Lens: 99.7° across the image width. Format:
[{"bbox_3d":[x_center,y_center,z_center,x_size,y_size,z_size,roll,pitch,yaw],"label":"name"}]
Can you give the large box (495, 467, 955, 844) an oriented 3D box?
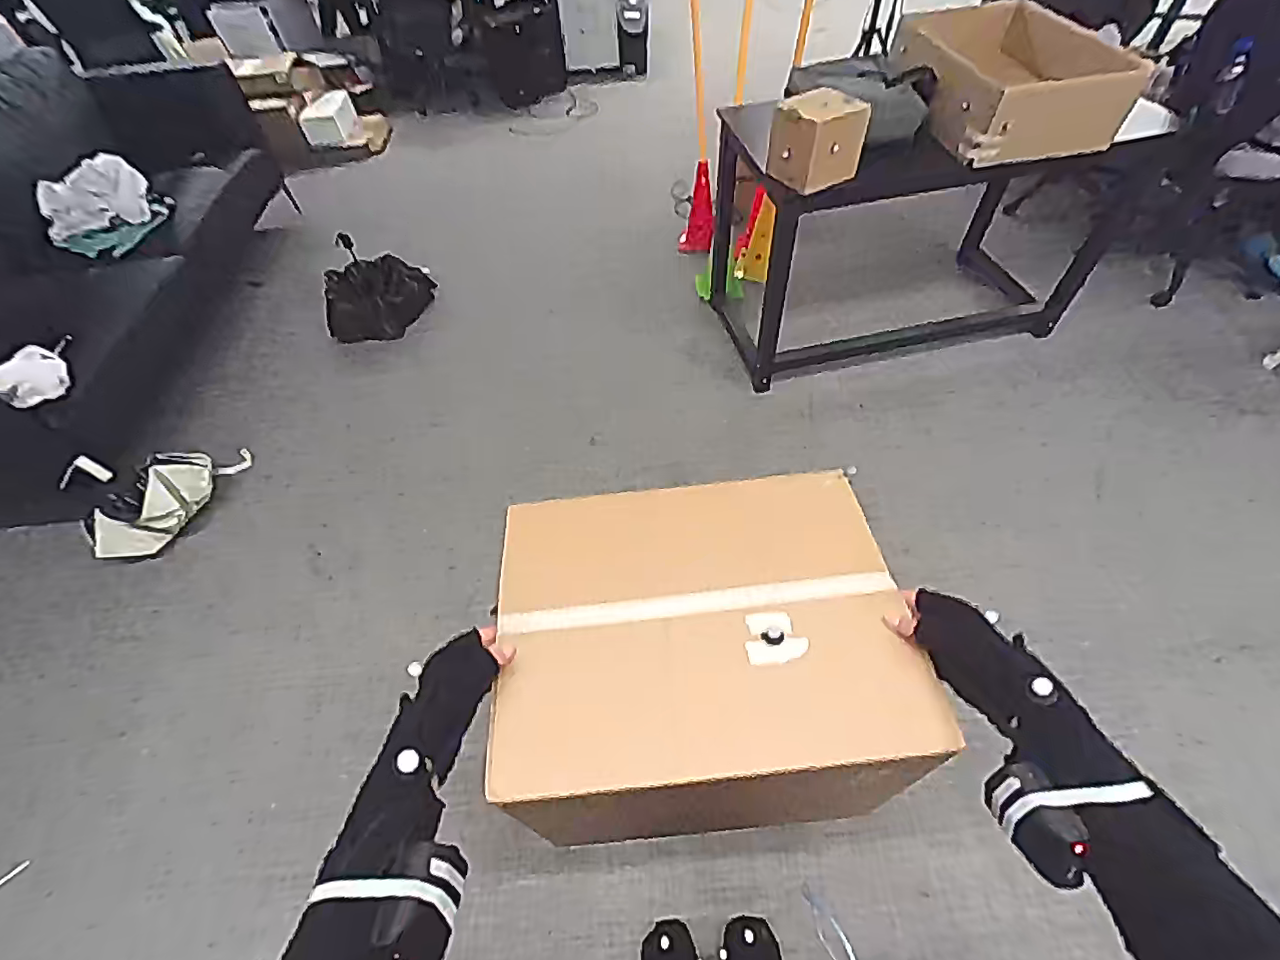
[{"bbox_3d":[0.066,0.219,0.662,0.408,0.320,0.320,-6,50,-1],"label":"large box"}]
